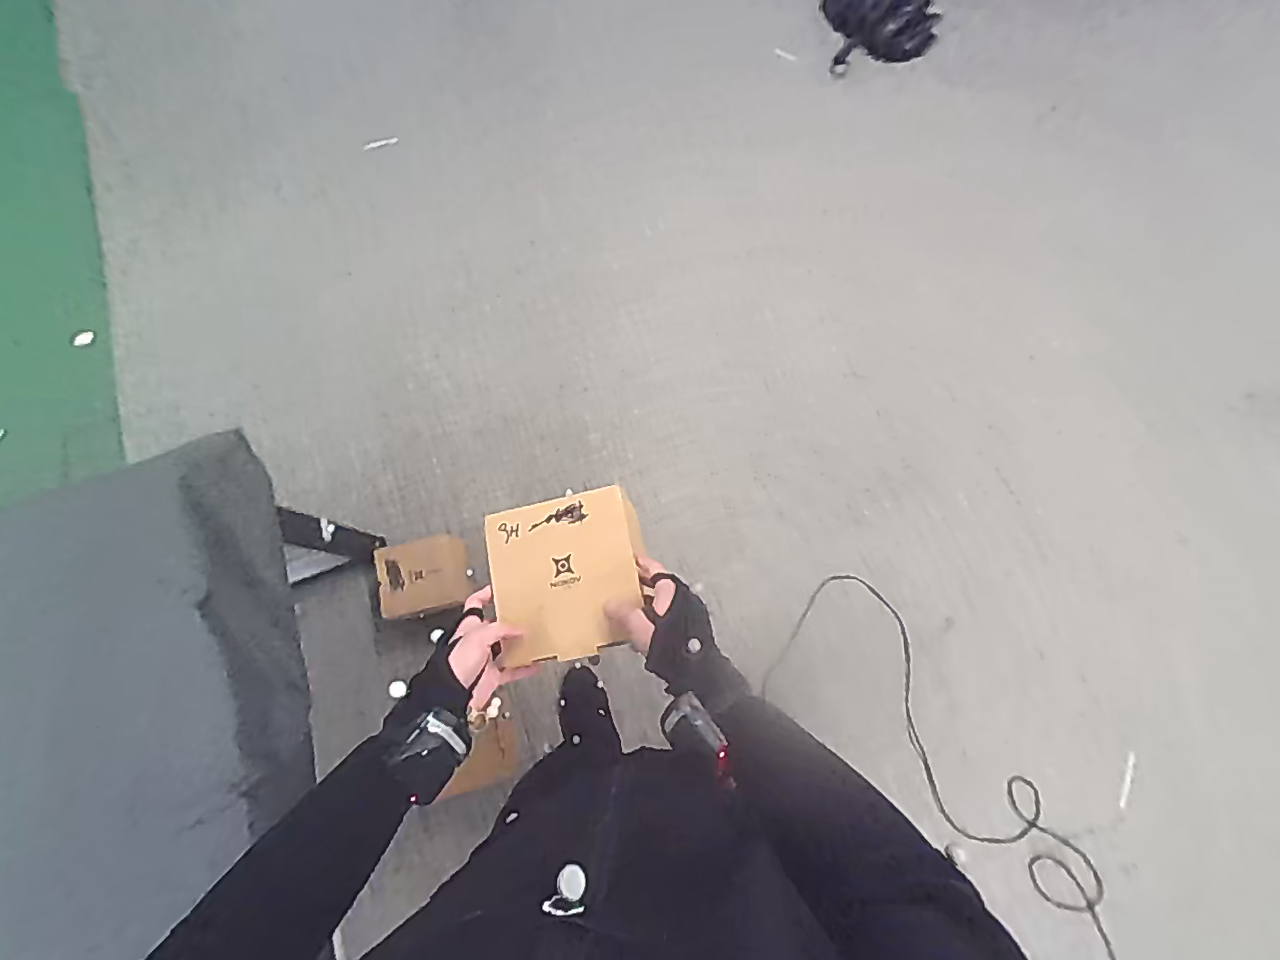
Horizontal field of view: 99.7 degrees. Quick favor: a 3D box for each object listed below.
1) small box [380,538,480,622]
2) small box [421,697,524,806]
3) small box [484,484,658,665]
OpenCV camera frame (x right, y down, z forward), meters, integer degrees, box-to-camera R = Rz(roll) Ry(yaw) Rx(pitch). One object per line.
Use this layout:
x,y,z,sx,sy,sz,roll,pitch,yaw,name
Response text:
-0.519,0.255,1.352,0.179,0.176,0.168,-14,76,-5,small box
-0.381,0.622,1.262,0.179,0.176,0.168,-18,75,-4,small box
-0.077,0.121,0.677,0.168,0.176,0.179,-12,74,4,small box
